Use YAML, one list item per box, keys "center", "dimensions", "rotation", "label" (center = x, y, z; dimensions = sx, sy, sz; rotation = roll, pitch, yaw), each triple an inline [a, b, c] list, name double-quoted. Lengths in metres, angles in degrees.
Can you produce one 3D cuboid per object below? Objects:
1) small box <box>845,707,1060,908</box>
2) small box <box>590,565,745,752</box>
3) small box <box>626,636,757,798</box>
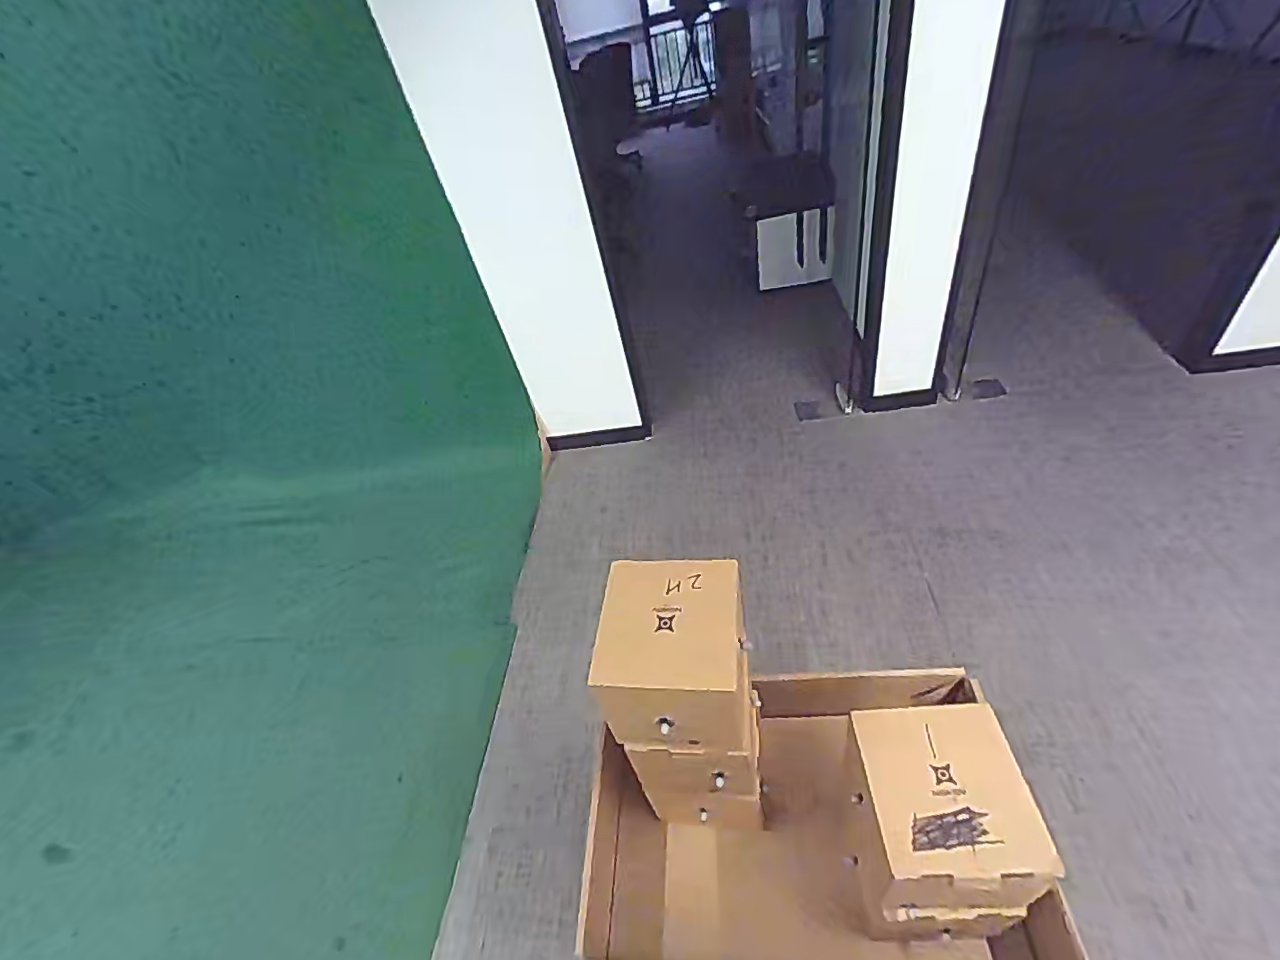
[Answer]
- center: [0.357, 0.401, 0.659]
  dimensions: [0.168, 0.176, 0.179]
  rotation: [-7, 42, 9]
  label: "small box"
- center: [0.048, 0.228, 0.694]
  dimensions: [0.168, 0.176, 0.179]
  rotation: [-1, 44, 12]
  label: "small box"
- center: [0.084, 0.349, 0.799]
  dimensions: [0.168, 0.176, 0.179]
  rotation: [-3, 42, 11]
  label: "small box"
